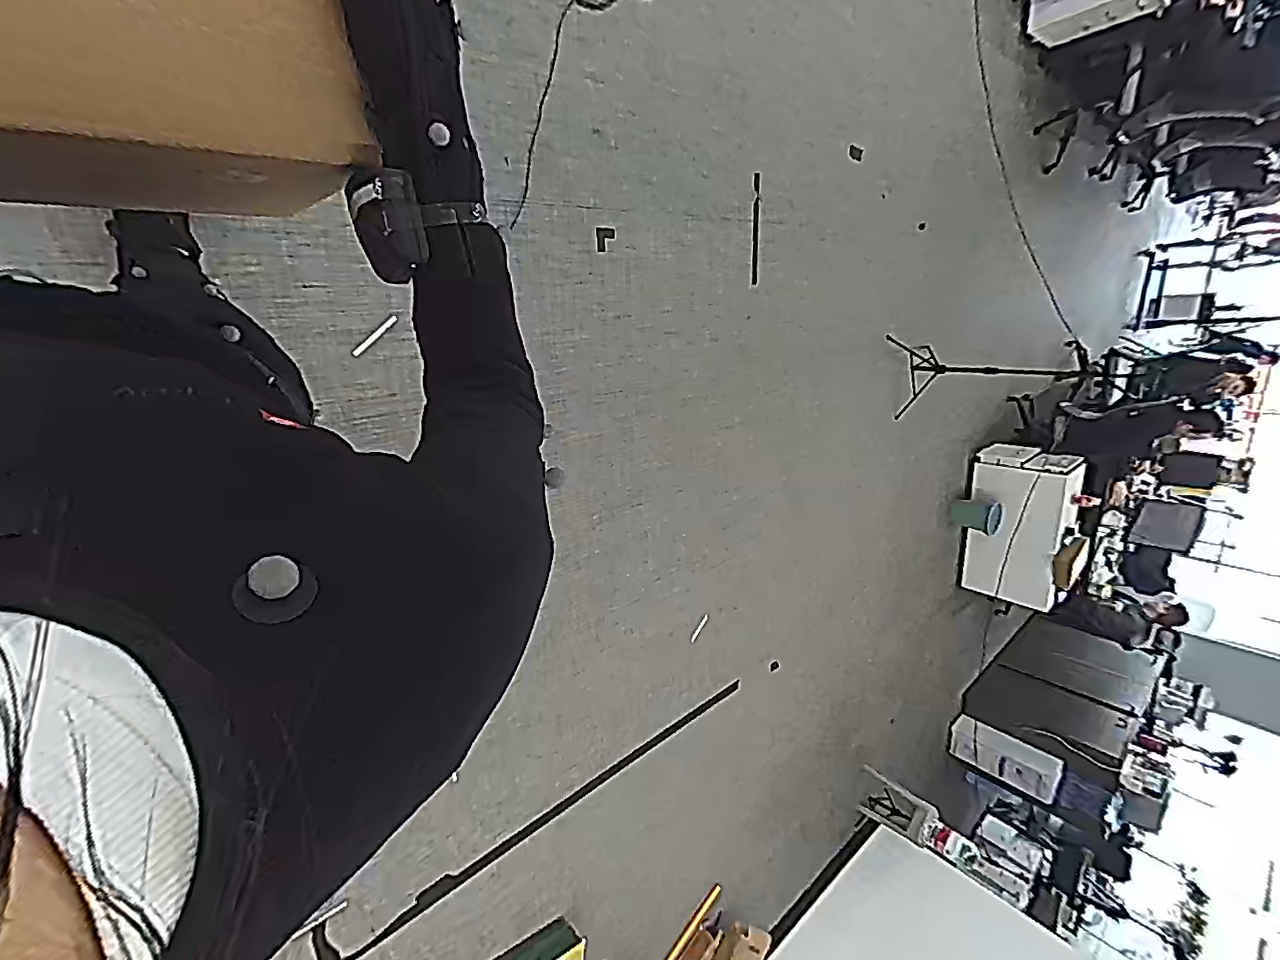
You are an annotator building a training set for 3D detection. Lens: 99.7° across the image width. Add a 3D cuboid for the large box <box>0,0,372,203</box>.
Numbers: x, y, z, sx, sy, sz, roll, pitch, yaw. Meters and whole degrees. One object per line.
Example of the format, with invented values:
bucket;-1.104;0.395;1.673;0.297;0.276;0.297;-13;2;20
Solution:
large box;-0.435;-0.351;0.301;0.408;0.320;0.320;-19;117;-39
